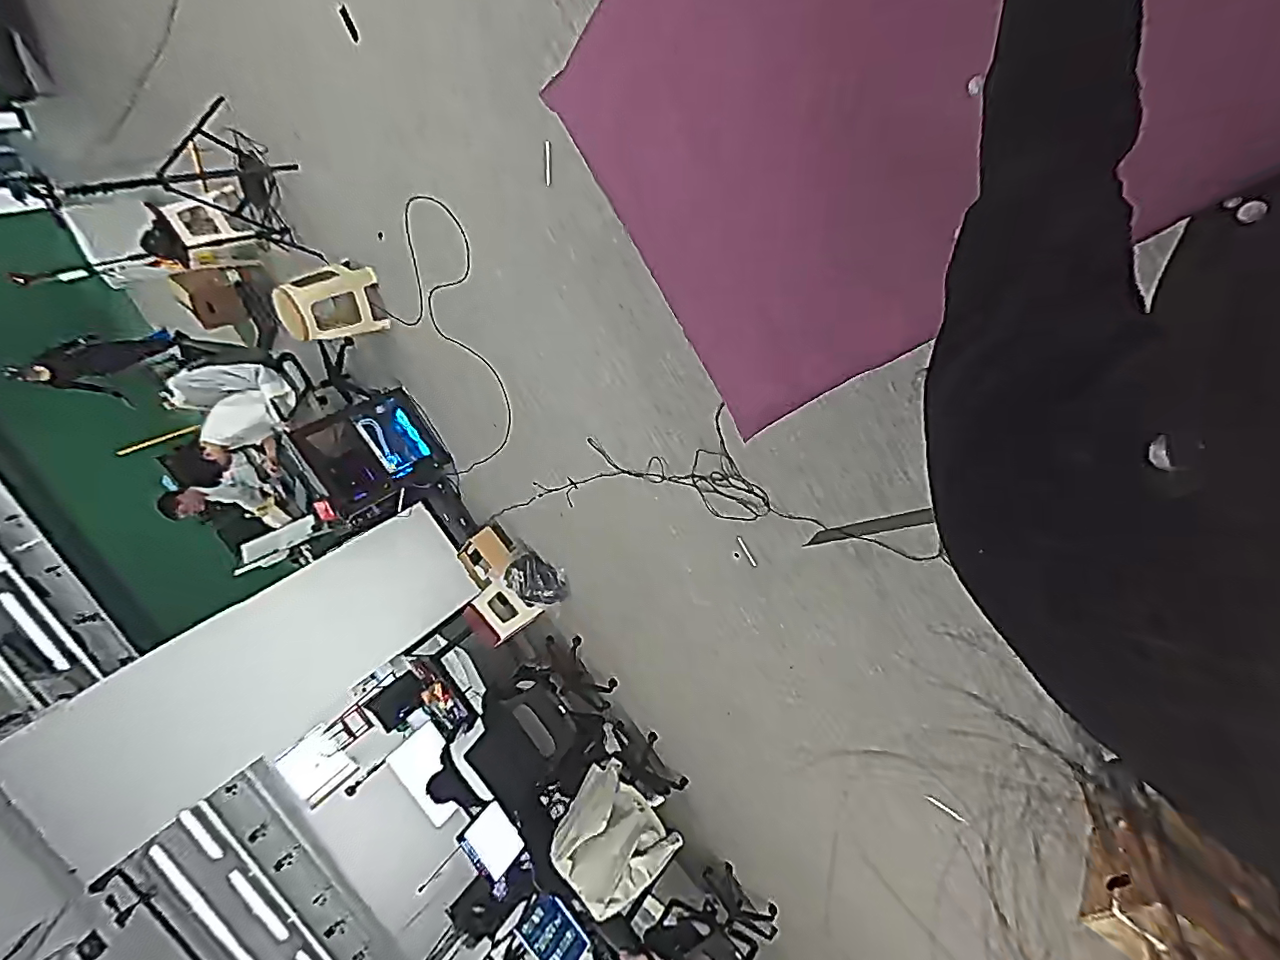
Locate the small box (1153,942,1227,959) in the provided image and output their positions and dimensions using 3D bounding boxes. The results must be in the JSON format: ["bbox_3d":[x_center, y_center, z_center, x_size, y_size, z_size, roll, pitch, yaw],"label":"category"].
[{"bbox_3d":[1.440,1.317,1.364,0.168,0.176,0.179,33,139,23],"label":"small box"}]
